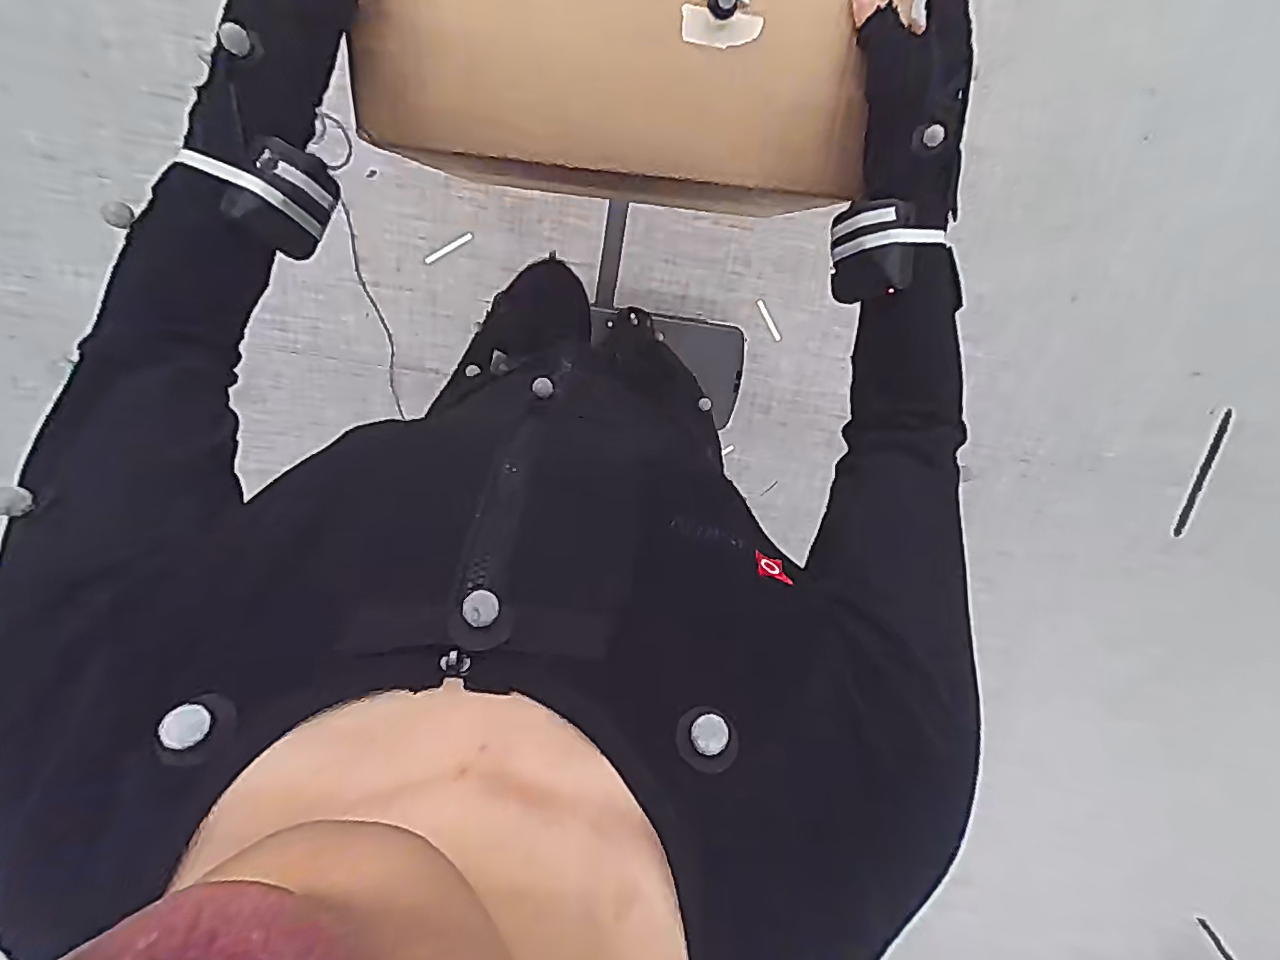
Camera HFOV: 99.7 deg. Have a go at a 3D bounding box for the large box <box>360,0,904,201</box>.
[{"bbox_3d":[-0.005,-0.460,0.507,0.408,0.320,0.320,4,114,-4],"label":"large box"}]
